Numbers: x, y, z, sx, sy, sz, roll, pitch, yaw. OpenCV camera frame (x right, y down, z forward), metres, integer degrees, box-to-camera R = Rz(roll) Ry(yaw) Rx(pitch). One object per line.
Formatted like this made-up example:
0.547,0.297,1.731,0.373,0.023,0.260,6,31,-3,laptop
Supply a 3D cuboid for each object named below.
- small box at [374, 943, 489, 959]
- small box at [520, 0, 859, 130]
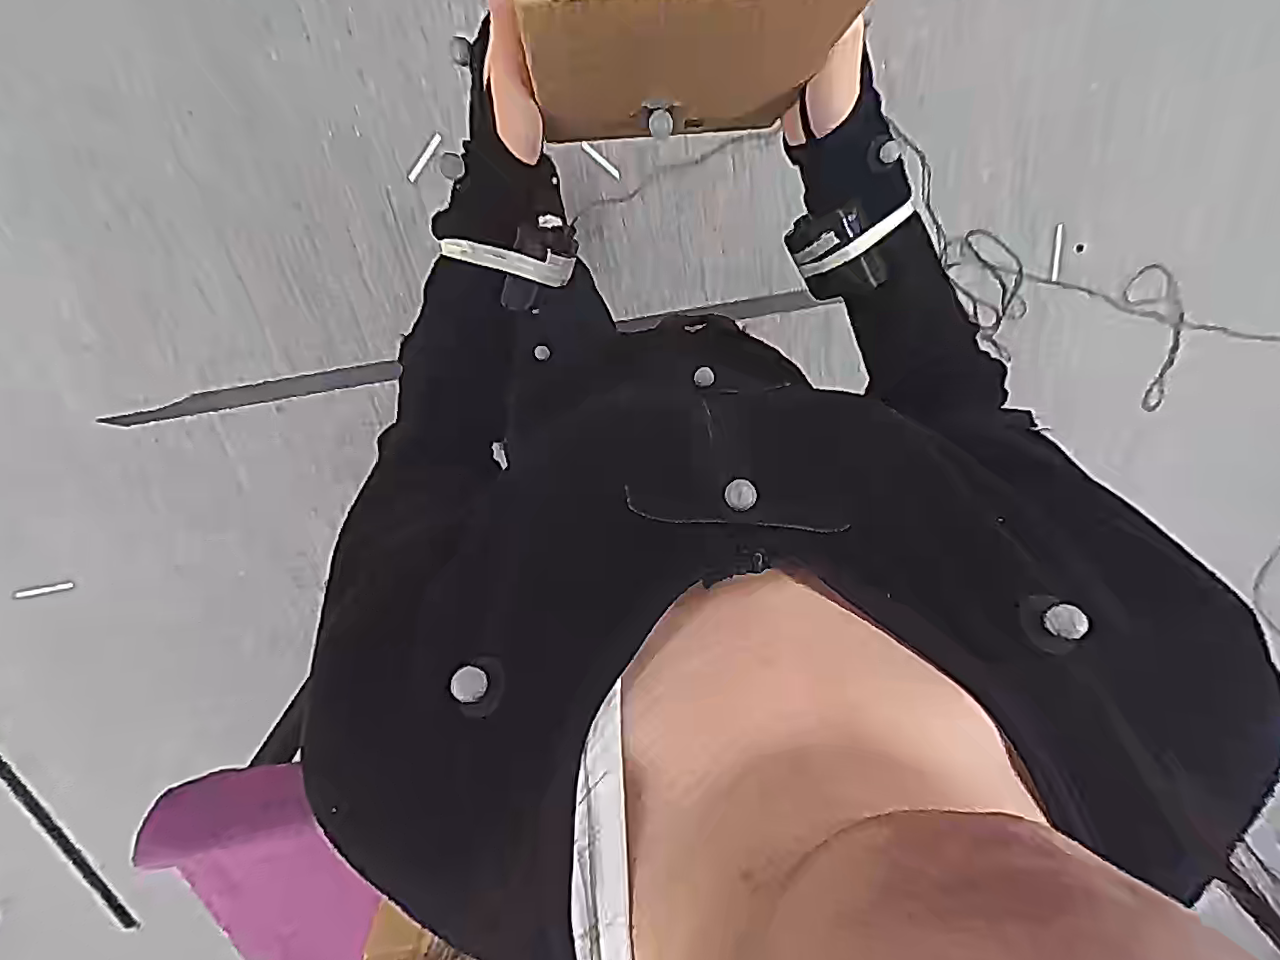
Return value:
-0.302,0.797,0.762,0.168,0.176,0.179,-10,111,-3,small box
0.013,-0.317,0.285,0.168,0.176,0.179,-6,105,-3,small box
